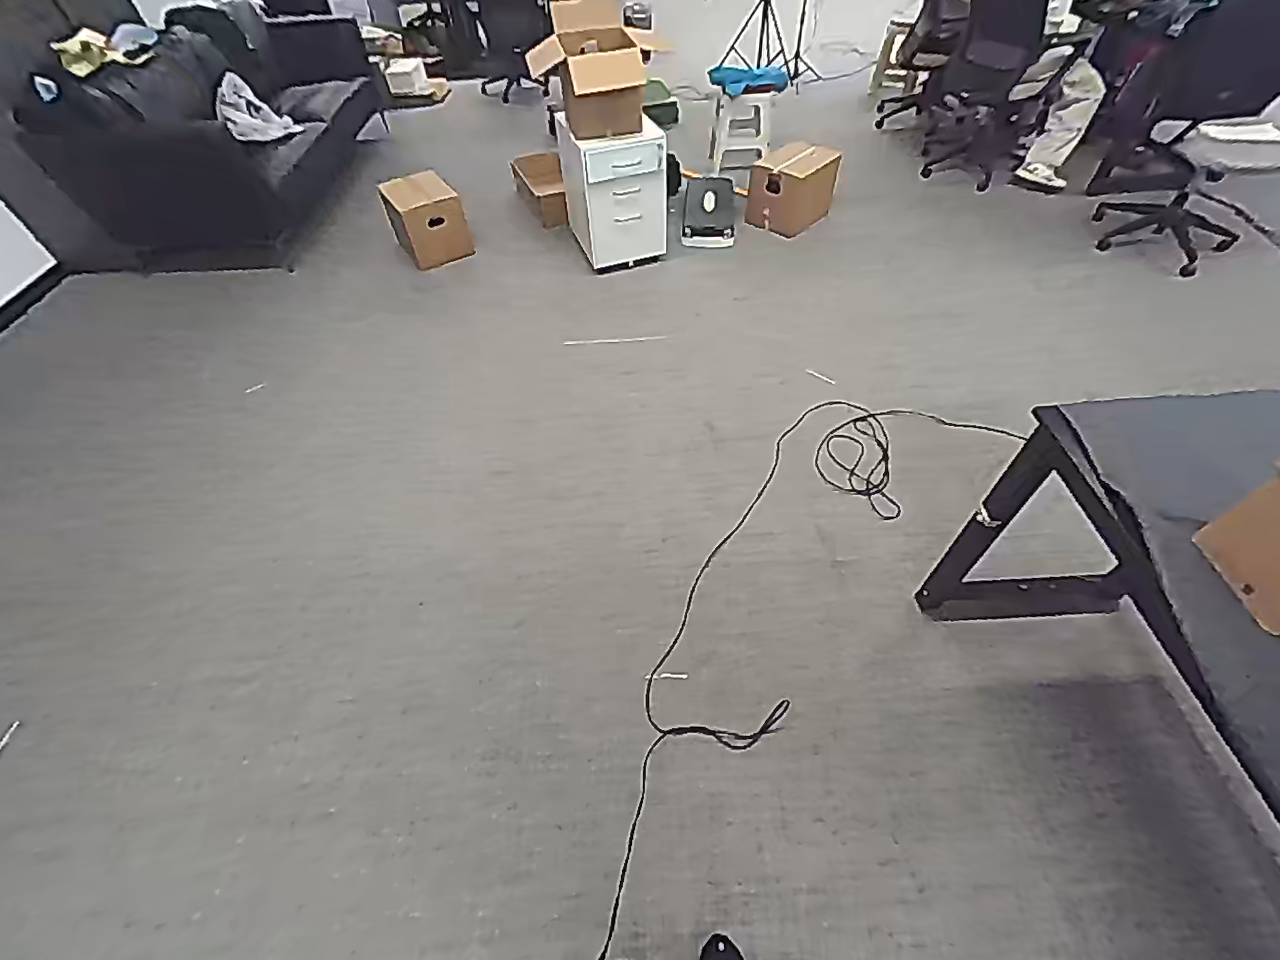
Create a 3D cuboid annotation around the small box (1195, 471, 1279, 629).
[{"bbox_3d":[0.941,0.091,0.730,0.179,0.176,0.168,-2,50,0],"label":"small box"}]
